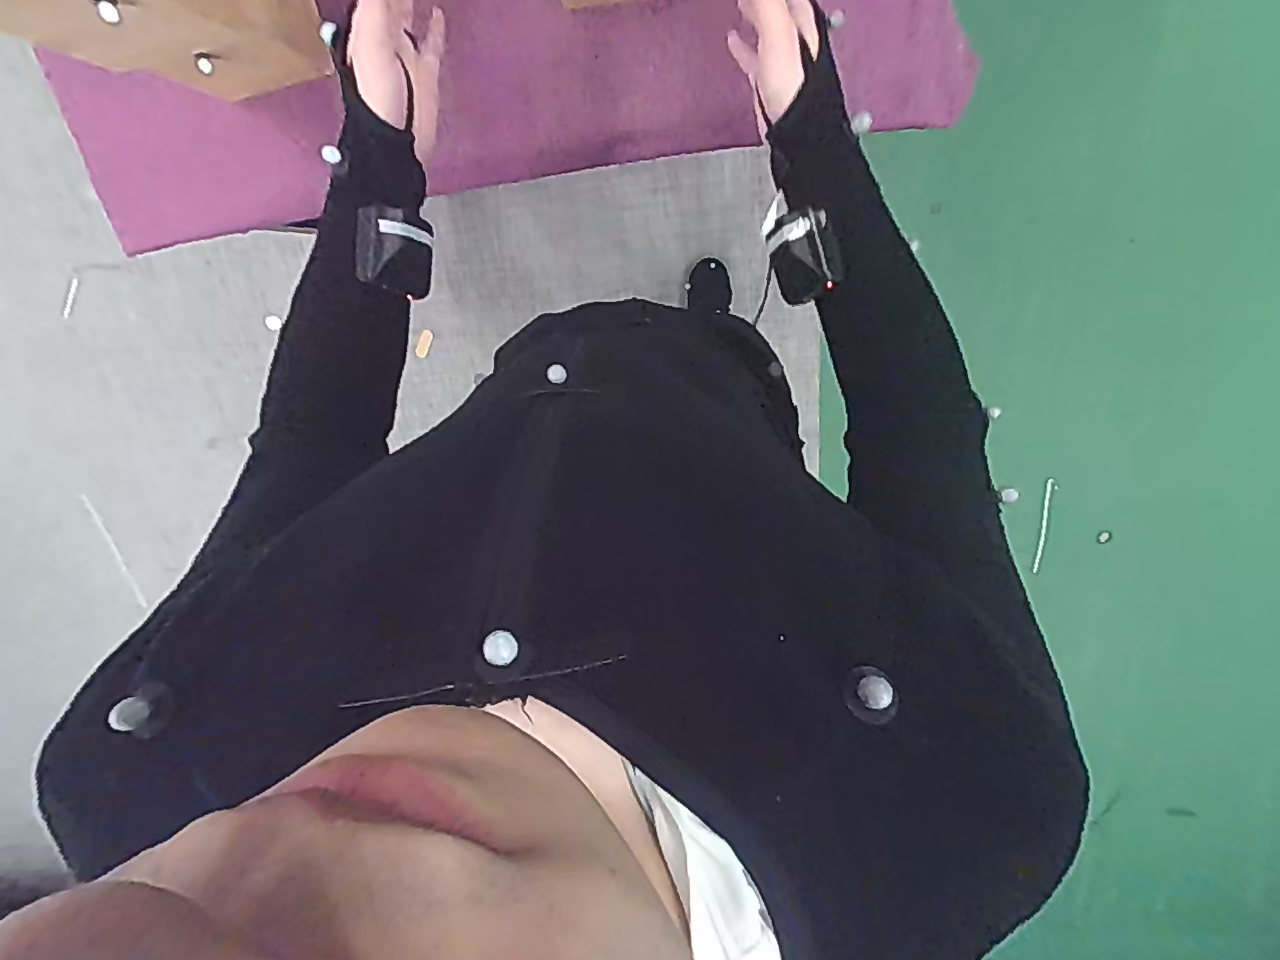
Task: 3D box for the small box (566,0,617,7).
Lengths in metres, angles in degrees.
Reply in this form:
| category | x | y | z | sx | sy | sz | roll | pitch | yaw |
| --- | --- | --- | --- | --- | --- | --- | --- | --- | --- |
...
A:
| category | x | y | z | sx | sy | sz | roll | pitch | yaw |
| --- | --- | --- | --- | --- | --- | --- | --- | --- | --- |
| small box | -0.023 | -0.645 | 0.574 | 0.179 | 0.176 | 0.168 | -4 | 111 | 6 |

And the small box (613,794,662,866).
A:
| category | x | y | z | sx | sy | sz | roll | pitch | yaw |
| --- | --- | --- | --- | --- | --- | --- | --- | --- | --- |
| small box | -0.009 | 1.376 | 2.132 | 0.179 | 0.176 | 0.168 | 3 | 112 | 4 |

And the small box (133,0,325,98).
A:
| category | x | y | z | sx | sy | sz | roll | pitch | yaw |
| --- | --- | --- | --- | --- | --- | --- | --- | --- | --- |
| small box | -0.514 | -0.586 | 0.642 | 0.179 | 0.176 | 0.168 | -8 | 111 | 8 |

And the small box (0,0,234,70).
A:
| category | x | y | z | sx | sy | sz | roll | pitch | yaw |
| --- | --- | --- | --- | --- | --- | --- | --- | --- | --- |
| small box | -0.522 | -0.511 | 0.494 | 0.179 | 0.176 | 0.168 | -6 | 111 | 8 |
